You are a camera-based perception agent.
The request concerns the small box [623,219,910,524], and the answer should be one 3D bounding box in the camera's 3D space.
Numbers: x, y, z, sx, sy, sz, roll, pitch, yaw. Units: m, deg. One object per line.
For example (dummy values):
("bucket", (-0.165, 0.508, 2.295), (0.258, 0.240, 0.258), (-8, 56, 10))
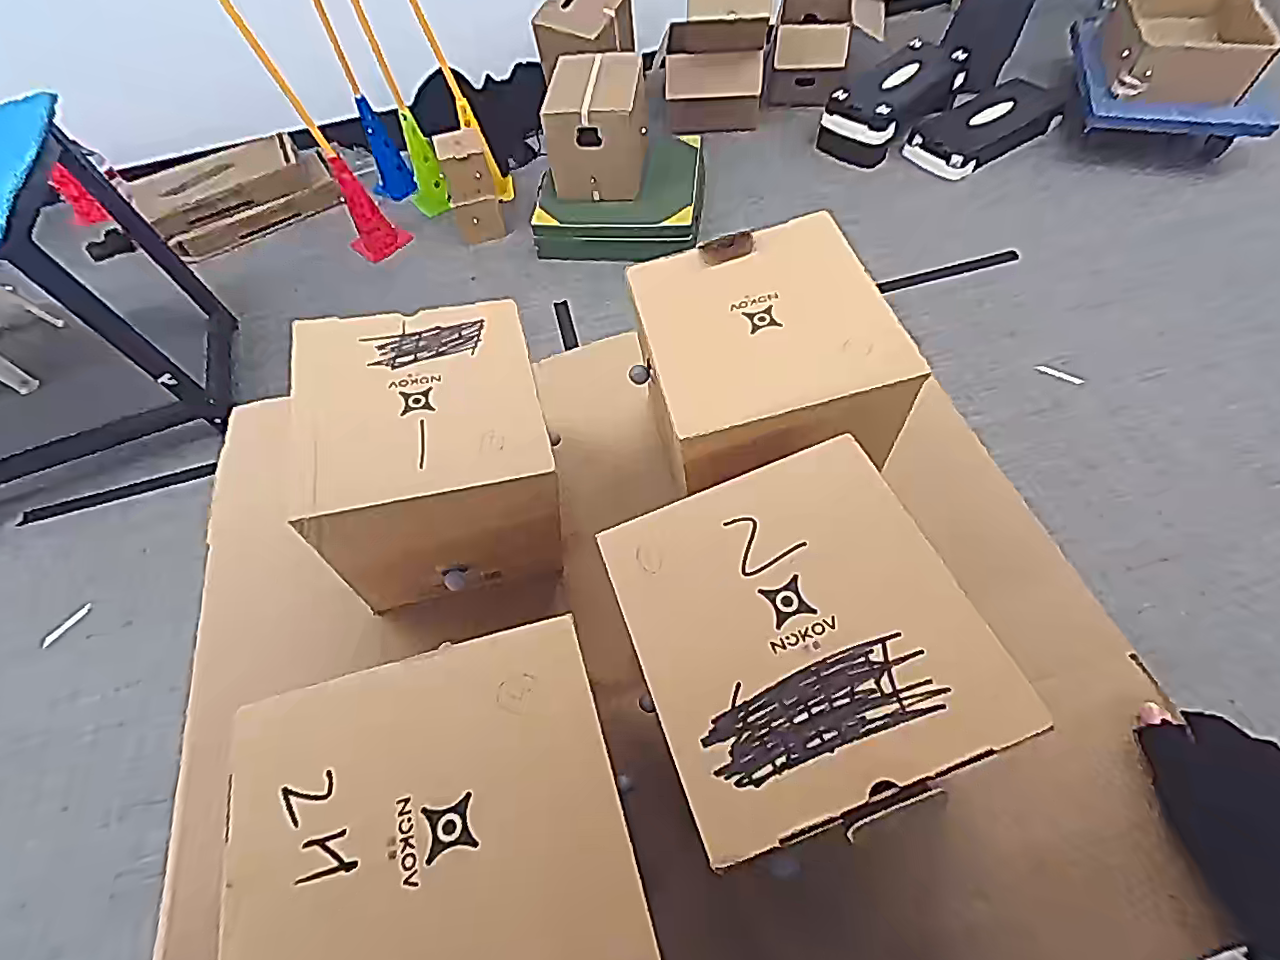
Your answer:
("small box", (0.095, -0.078, 0.461), (0.168, 0.176, 0.179), (-15, 58, 1))
